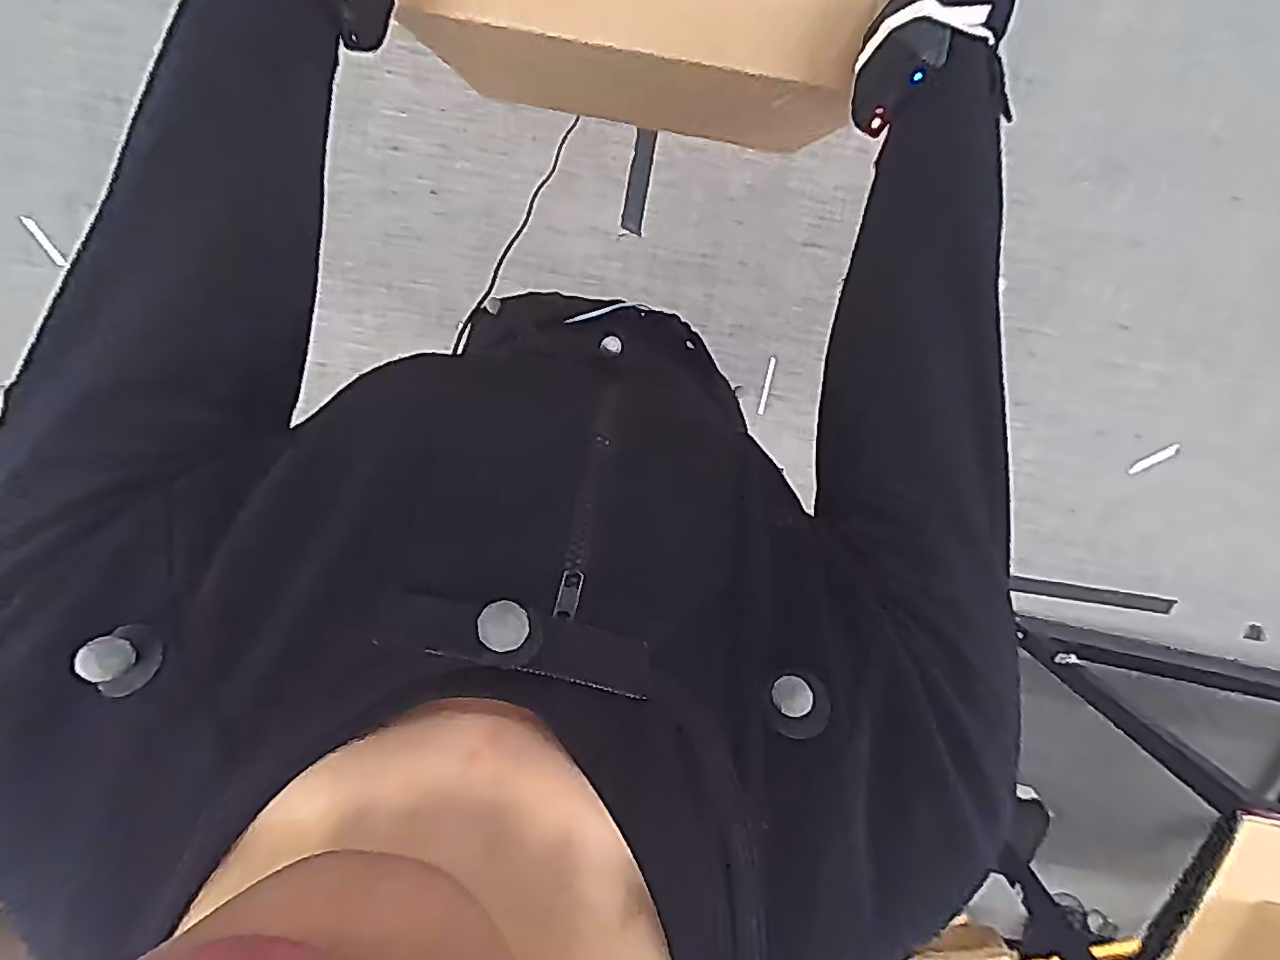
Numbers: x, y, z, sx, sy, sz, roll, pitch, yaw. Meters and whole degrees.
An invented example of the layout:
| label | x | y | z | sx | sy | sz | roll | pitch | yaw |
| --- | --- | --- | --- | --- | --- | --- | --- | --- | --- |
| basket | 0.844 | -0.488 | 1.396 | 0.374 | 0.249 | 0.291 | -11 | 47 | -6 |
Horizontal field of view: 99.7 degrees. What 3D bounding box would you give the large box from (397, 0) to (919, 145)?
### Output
| label | x | y | z | sx | sy | sz | roll | pitch | yaw |
| --- | --- | --- | --- | --- | --- | --- | --- | --- | --- |
| large box | 0.026 | -0.533 | 0.495 | 0.408 | 0.320 | 0.320 | 7 | 116 | -5 |
